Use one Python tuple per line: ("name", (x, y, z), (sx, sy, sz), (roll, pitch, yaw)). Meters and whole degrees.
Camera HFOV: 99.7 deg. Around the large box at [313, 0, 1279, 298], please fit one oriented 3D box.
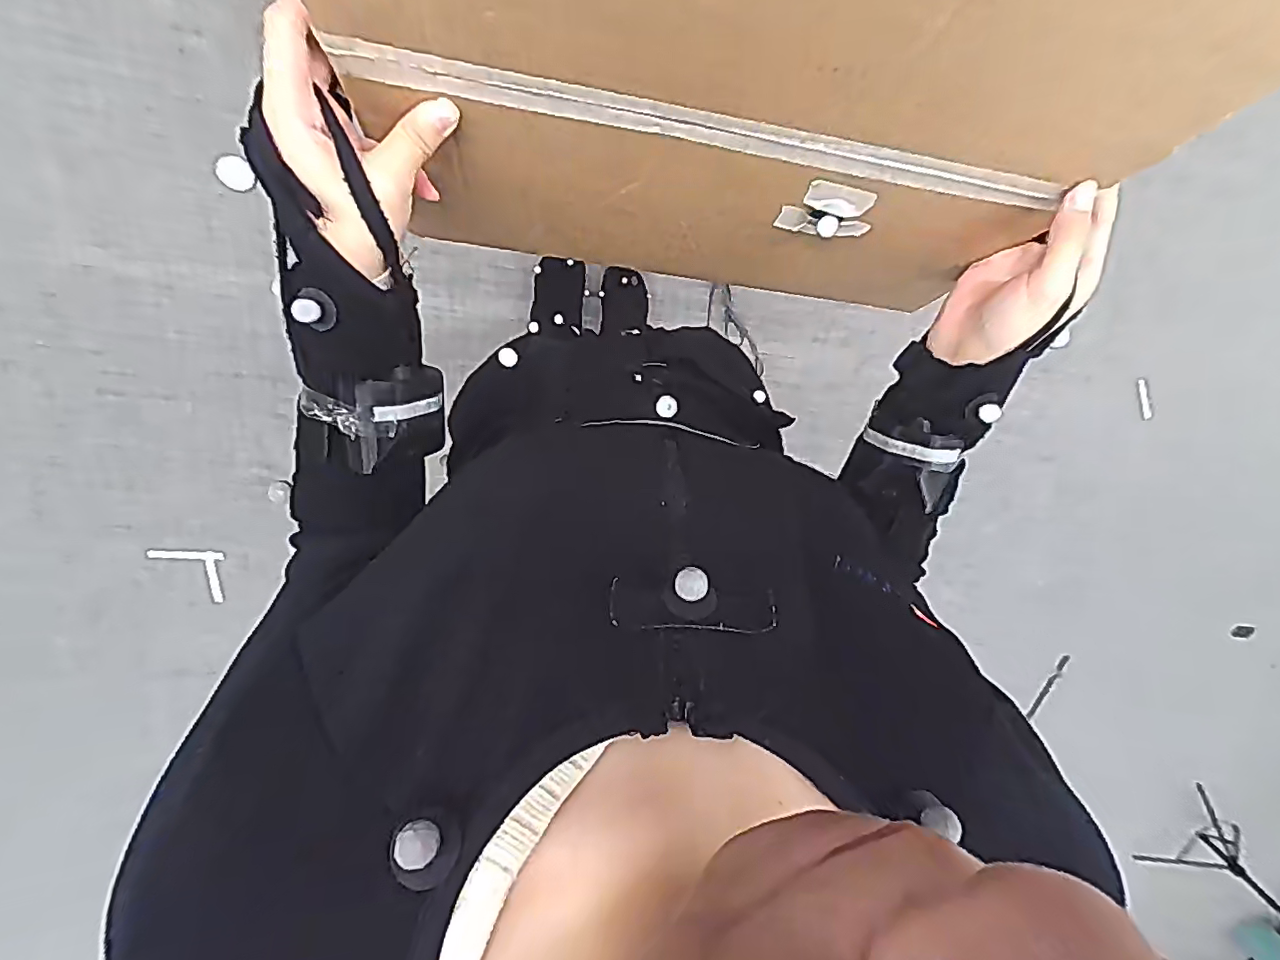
("large box", (0.059, -0.332, 0.298), (0.408, 0.320, 0.320), (4, 84, -9))
